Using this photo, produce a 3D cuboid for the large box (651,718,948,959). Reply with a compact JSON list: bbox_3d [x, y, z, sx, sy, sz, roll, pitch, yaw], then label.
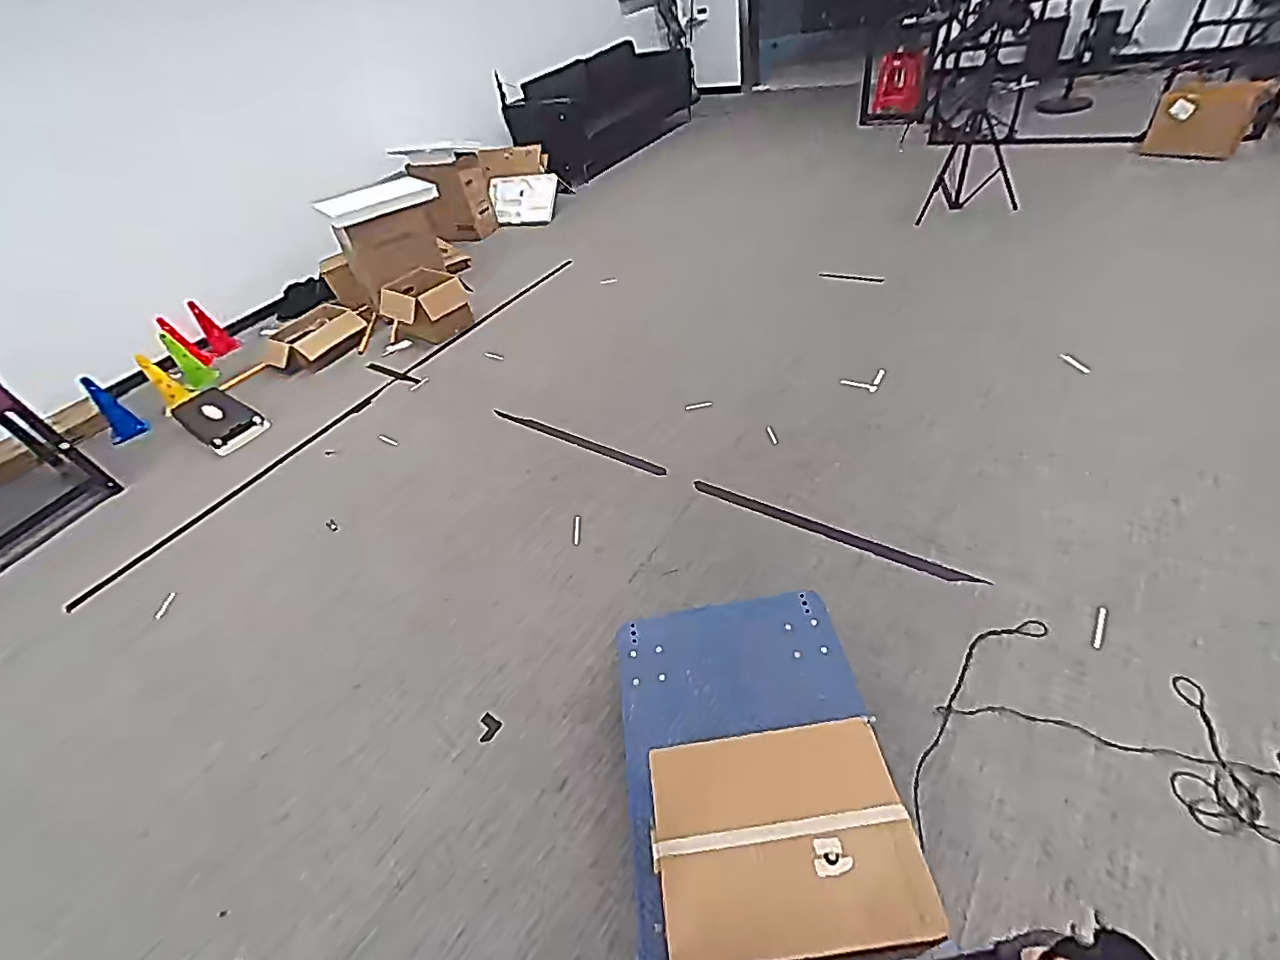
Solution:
[{"bbox_3d":[0.251,0.678,0.981,0.408,0.320,0.320,-10,44,2],"label":"large box"}]
